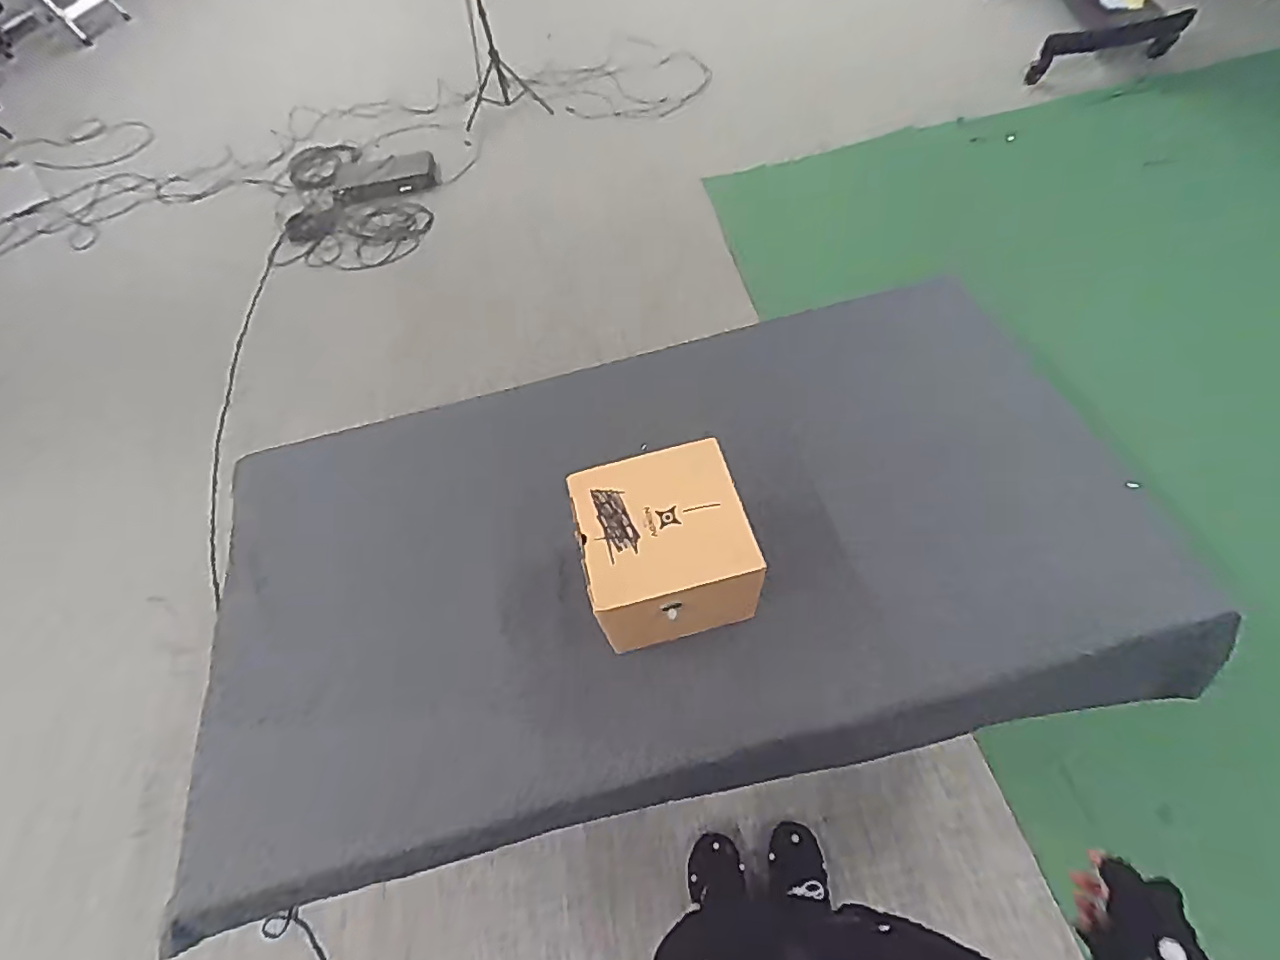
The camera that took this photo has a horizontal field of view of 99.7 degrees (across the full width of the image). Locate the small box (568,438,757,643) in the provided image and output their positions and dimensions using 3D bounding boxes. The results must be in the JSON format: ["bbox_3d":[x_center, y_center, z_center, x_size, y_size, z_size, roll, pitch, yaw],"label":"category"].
[{"bbox_3d":[0.027,0.080,0.645,0.179,0.176,0.168,-14,59,-2],"label":"small box"}]
